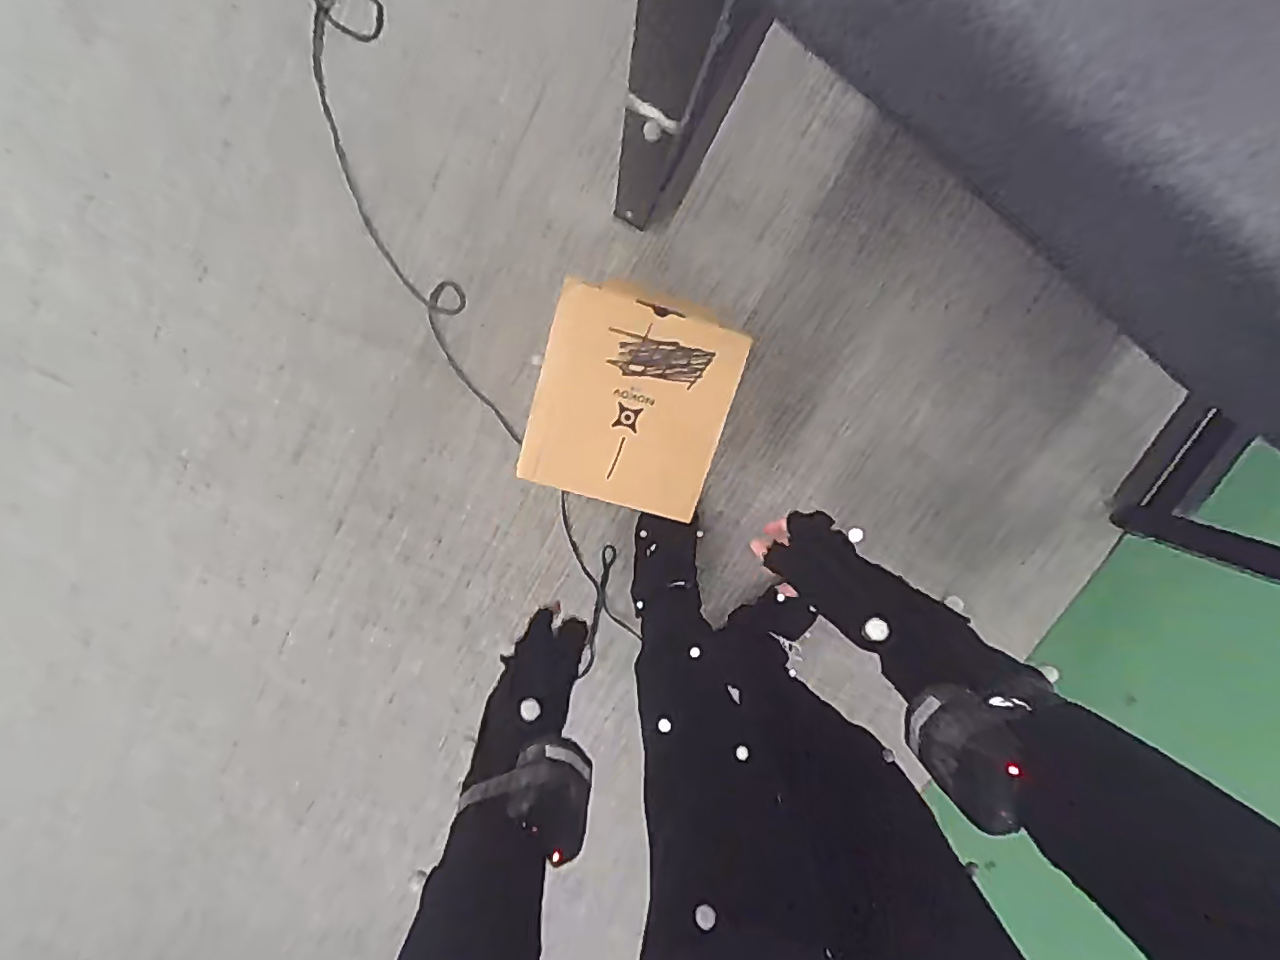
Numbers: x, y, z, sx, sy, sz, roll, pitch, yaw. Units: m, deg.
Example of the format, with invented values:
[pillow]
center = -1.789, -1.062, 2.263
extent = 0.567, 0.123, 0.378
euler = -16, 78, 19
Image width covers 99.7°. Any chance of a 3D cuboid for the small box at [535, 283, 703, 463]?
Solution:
[small box]
center = -0.028, -0.138, 0.701
extent = 0.168, 0.176, 0.179
euler = 13, 102, -5
